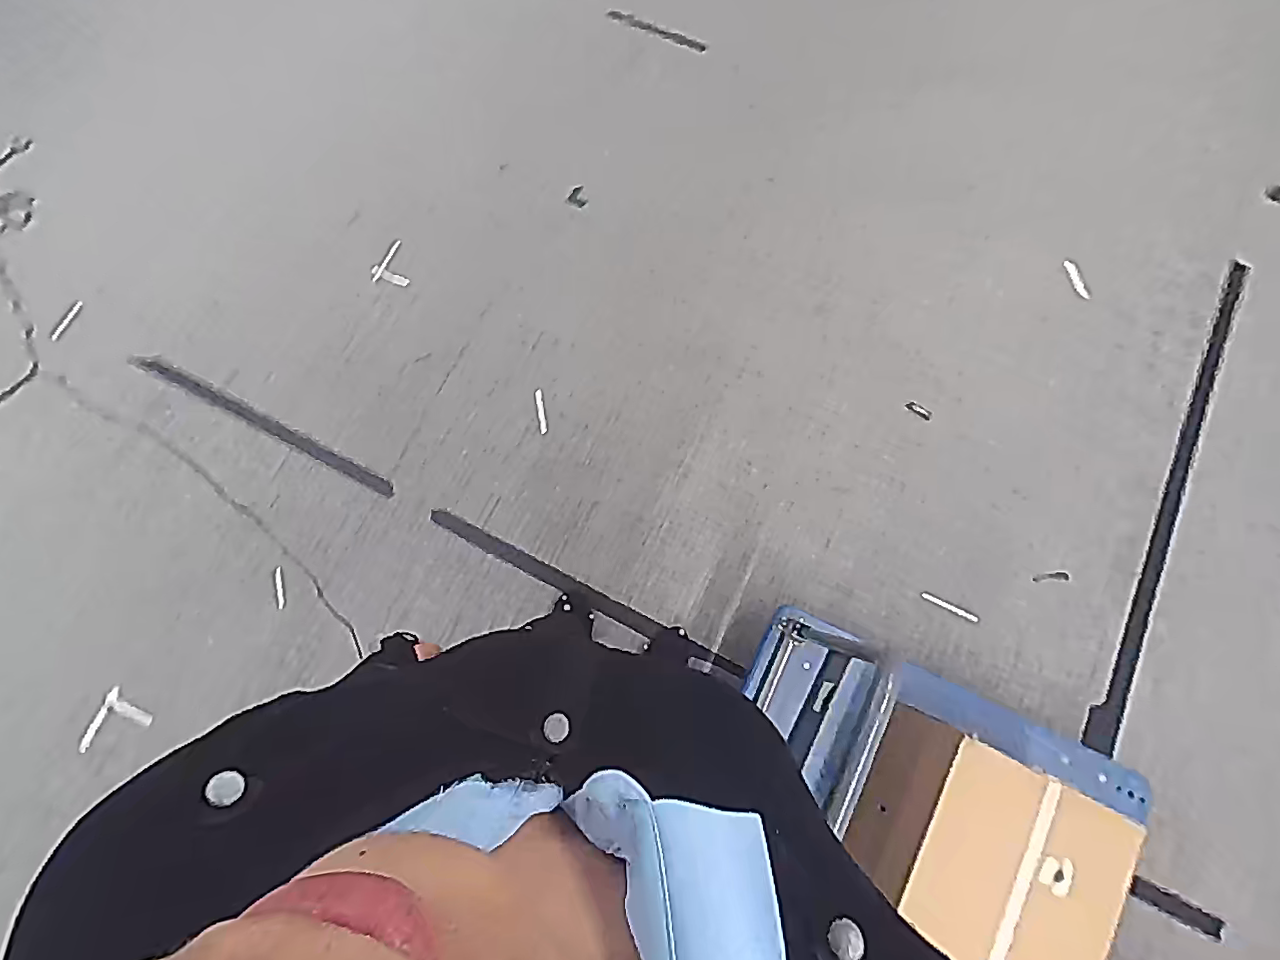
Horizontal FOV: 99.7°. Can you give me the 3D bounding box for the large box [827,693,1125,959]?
[{"bbox_3d":[0.618,0.695,1.055,0.320,0.320,0.408,26,79,7],"label":"large box"}]
